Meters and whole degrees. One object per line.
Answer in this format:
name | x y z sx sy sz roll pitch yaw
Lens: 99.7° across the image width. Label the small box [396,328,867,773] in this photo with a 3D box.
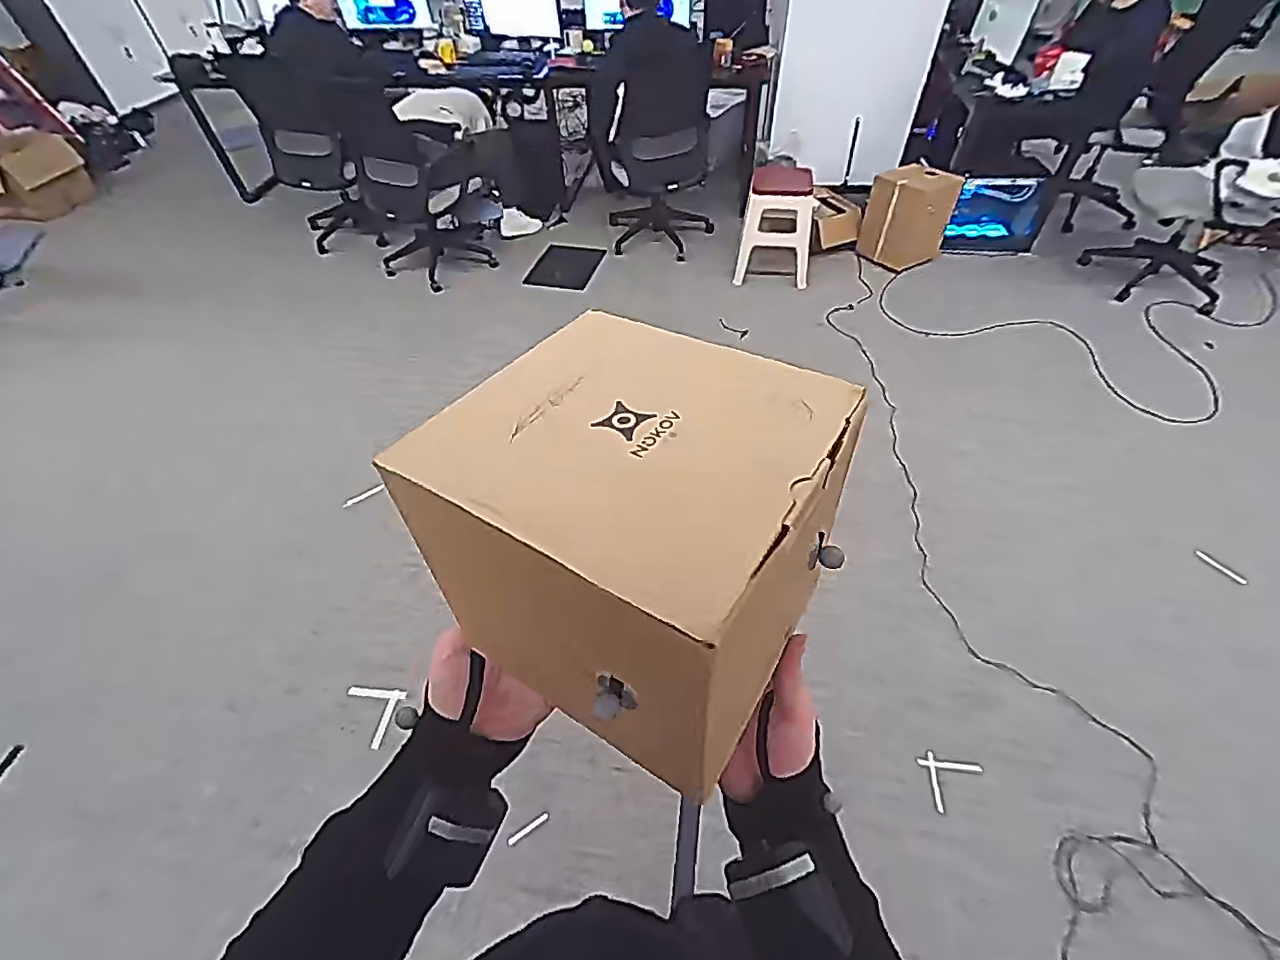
small box | 0.004 0.039 0.319 0.179 0.176 0.168 22 49 25
